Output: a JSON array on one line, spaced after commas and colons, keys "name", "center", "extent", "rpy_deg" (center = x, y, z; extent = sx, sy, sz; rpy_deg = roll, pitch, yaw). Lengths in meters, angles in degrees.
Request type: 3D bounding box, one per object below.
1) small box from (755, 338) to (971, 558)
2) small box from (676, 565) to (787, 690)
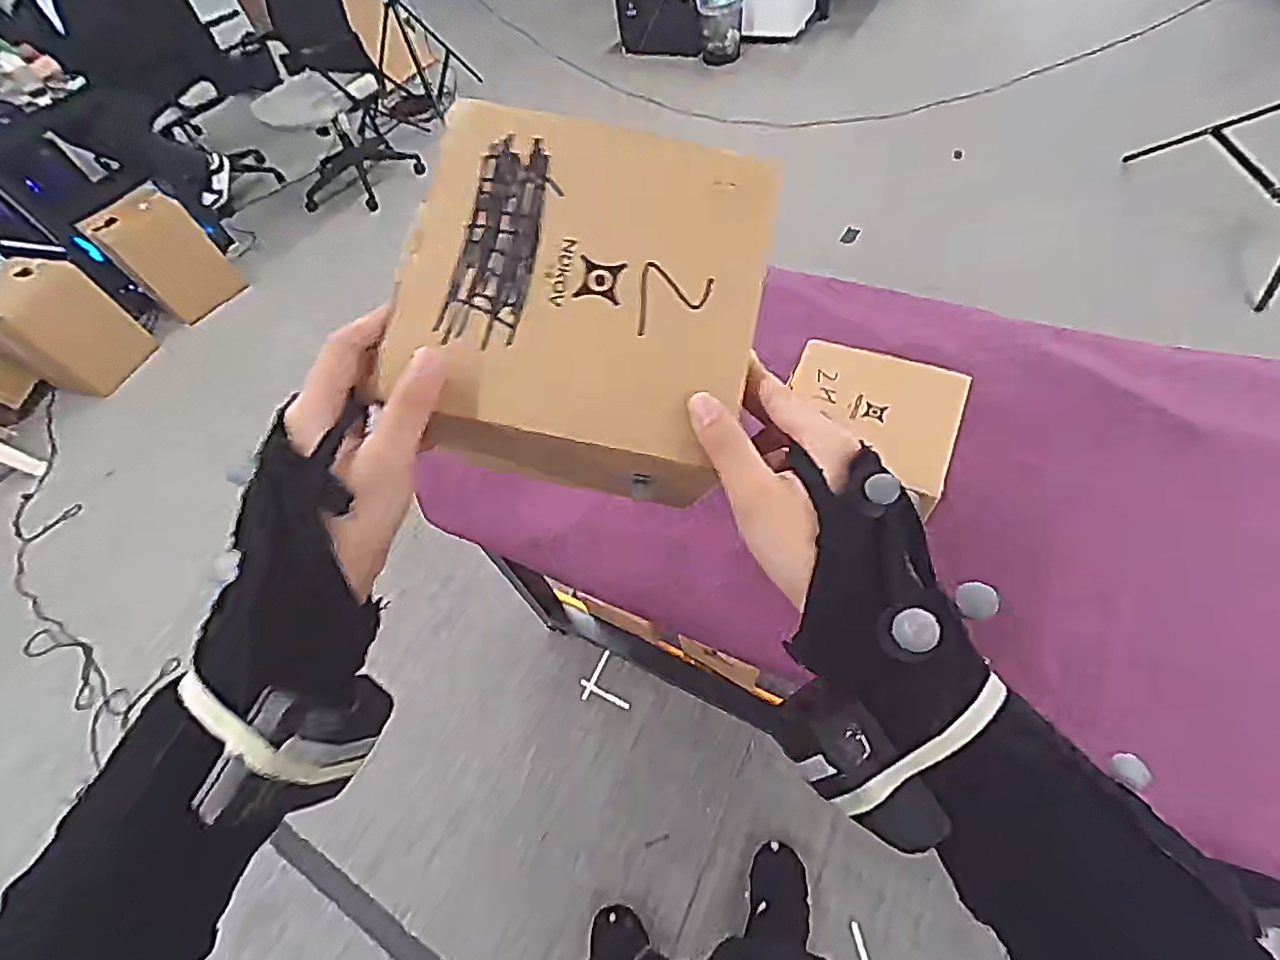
[{"name": "small box", "center": [0.246, -0.031, 0.628], "extent": [0.179, 0.176, 0.168], "rpy_deg": [20, 60, 21]}, {"name": "small box", "center": [0.196, 0.319, 1.154], "extent": [0.168, 0.176, 0.179], "rpy_deg": [26, 64, 23]}]
